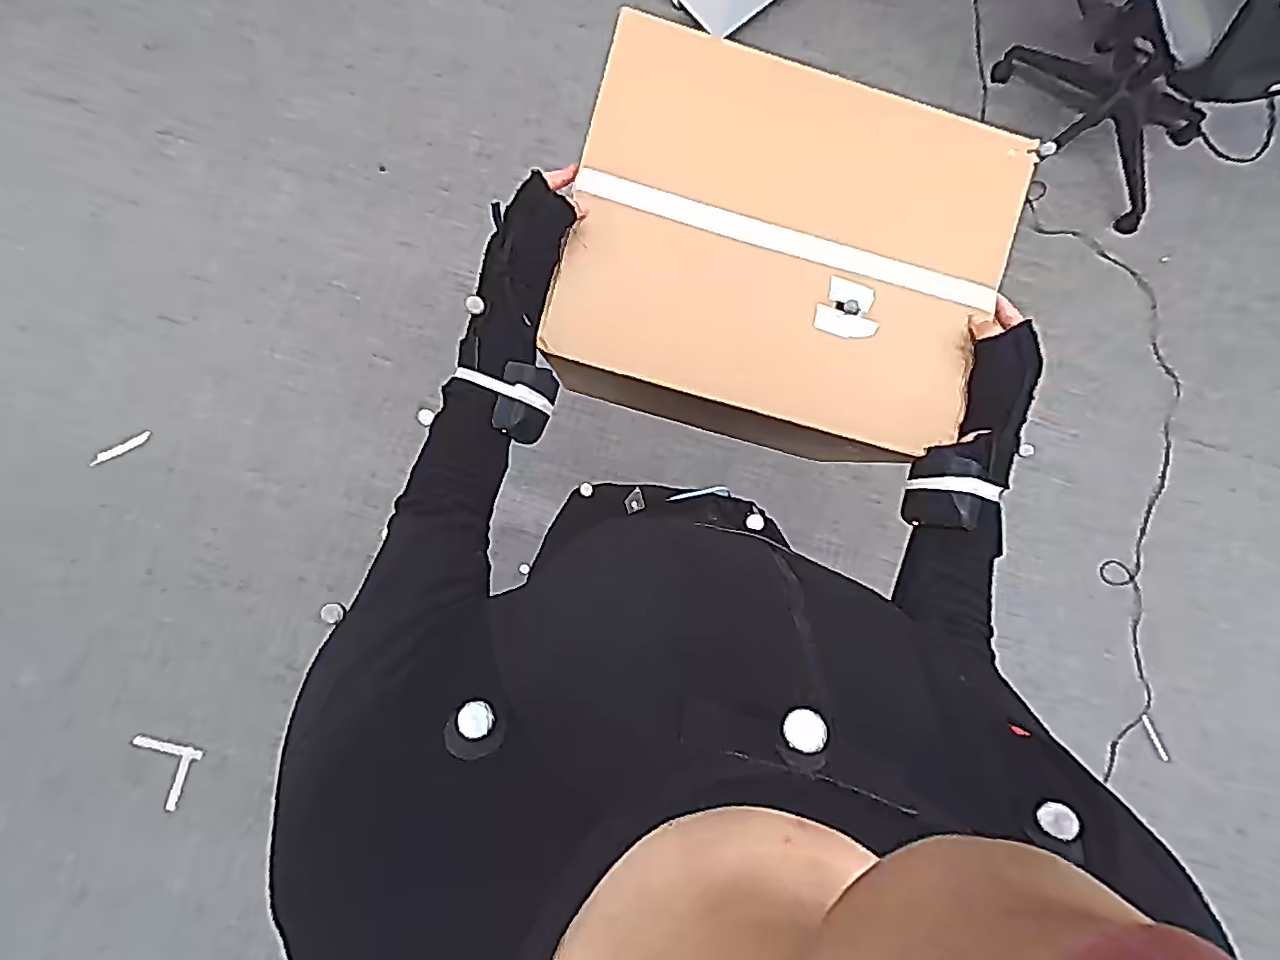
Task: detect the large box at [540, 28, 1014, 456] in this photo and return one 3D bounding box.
[{"bbox_3d":[0.122,-0.225,0.658,0.408,0.320,0.320,15,93,-5],"label":"large box"}]
